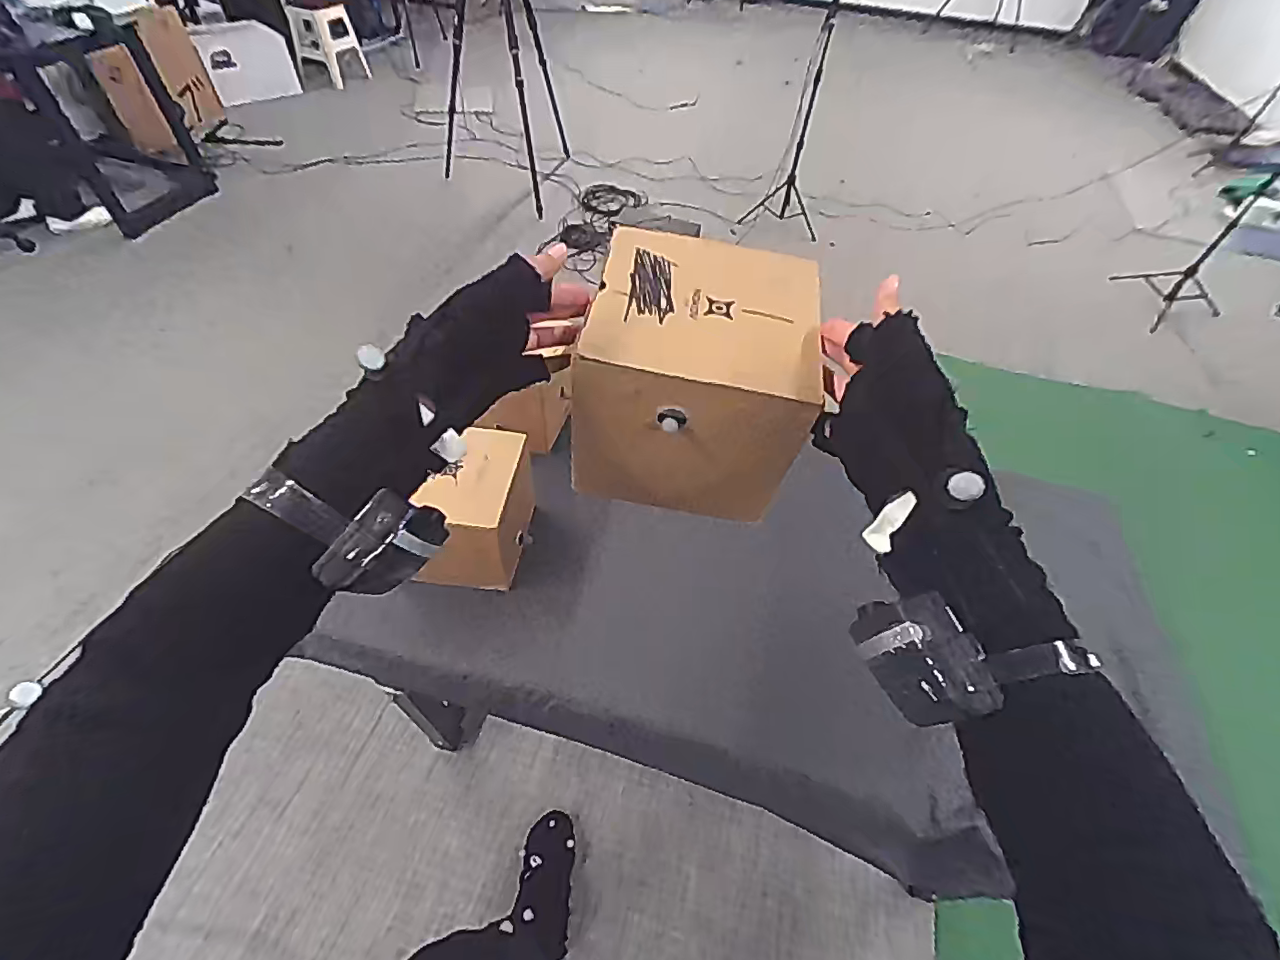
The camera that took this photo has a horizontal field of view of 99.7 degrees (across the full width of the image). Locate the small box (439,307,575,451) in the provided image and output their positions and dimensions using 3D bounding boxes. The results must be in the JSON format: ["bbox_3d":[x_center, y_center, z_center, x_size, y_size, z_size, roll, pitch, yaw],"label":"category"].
[{"bbox_3d":[-0.221,-0.173,0.955,0.179,0.176,0.168,14,52,5],"label":"small box"}]

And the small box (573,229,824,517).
[{"bbox_3d":[0.044,-0.085,0.474,0.179,0.176,0.168,11,56,0],"label":"small box"}]

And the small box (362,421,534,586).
[{"bbox_3d":[-0.260,0.038,0.780,0.179,0.176,0.168,7,51,-1],"label":"small box"}]
